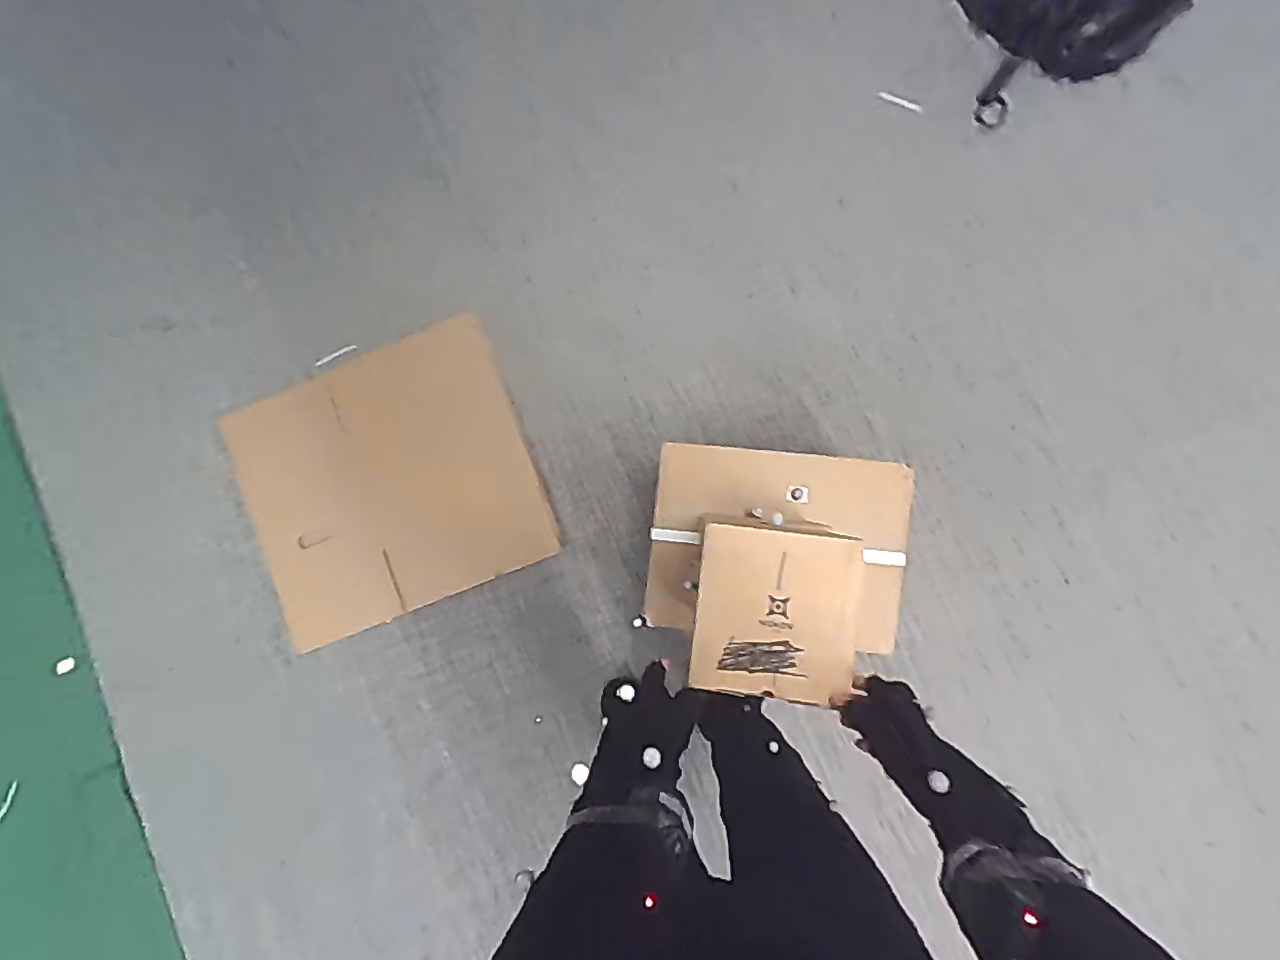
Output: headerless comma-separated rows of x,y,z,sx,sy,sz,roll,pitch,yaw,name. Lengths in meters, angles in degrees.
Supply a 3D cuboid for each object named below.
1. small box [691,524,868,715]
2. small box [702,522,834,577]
0.154,0.149,0.641,0.168,0.176,0.179,6,87,7,small box
0.182,0.149,0.806,0.179,0.176,0.168,1,86,6,small box
